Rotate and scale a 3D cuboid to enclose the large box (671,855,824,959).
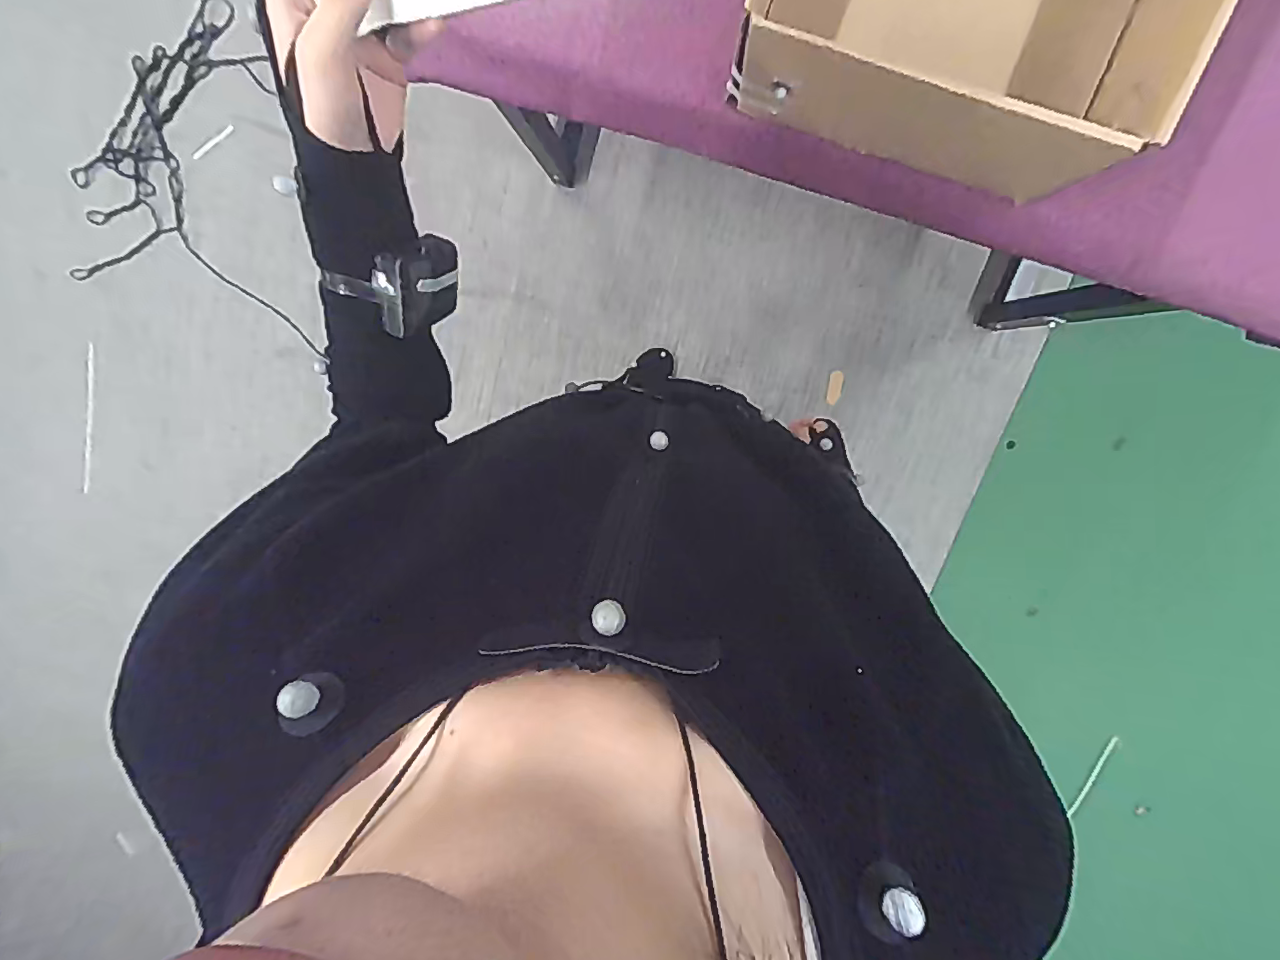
[{"bbox_3d":[0.299,1.400,1.633,0.408,0.320,0.320,3,103,2],"label":"large box"}]
